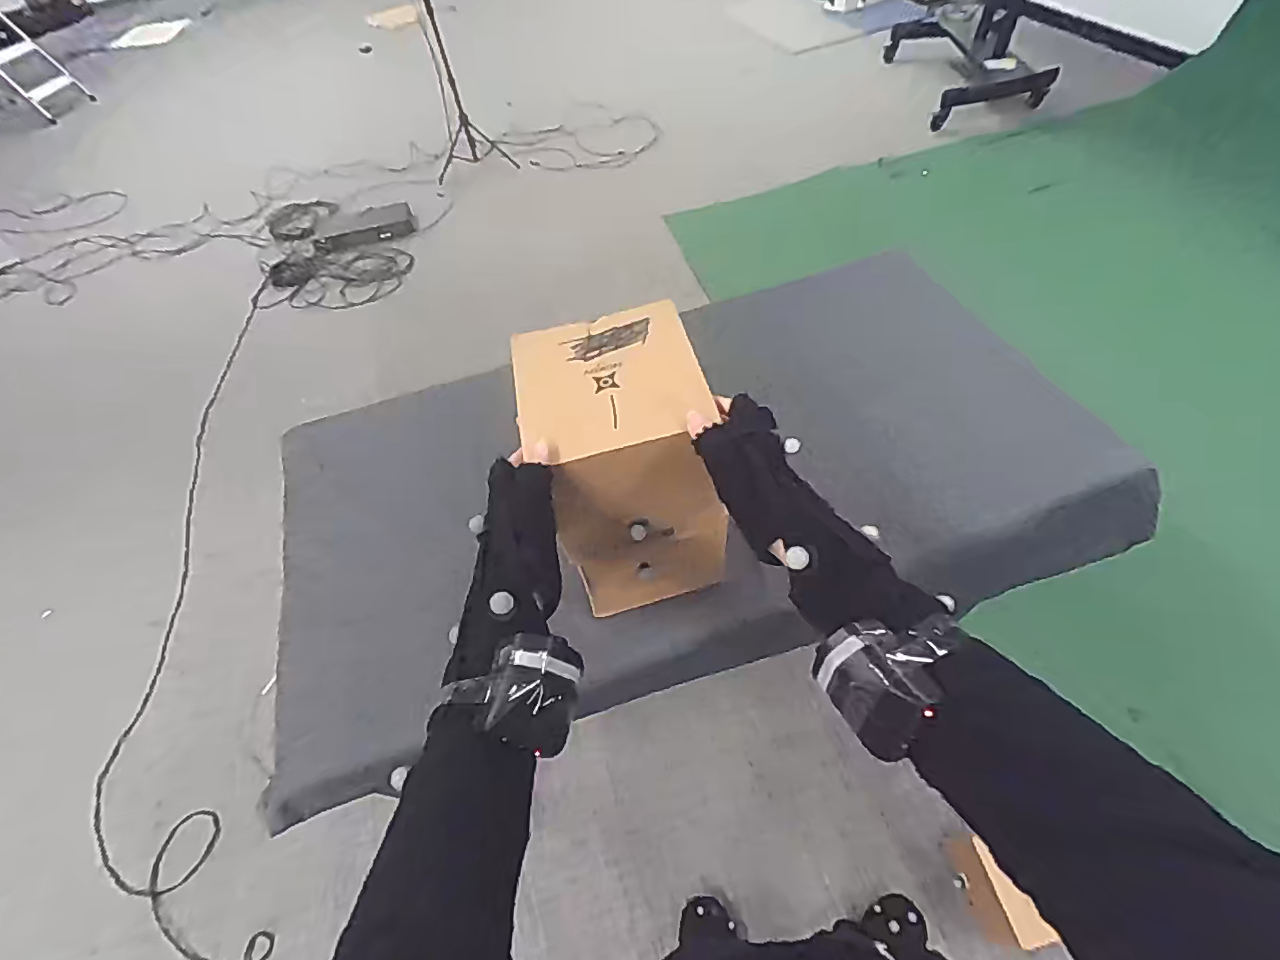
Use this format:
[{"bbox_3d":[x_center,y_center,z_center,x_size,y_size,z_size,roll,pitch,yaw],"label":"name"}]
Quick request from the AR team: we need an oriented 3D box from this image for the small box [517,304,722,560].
[{"bbox_3d":[-0.019,-0.045,0.551,0.168,0.176,0.179,-14,53,0],"label":"small box"}]

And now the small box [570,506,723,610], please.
[{"bbox_3d":[-0.002,0.047,0.698,0.179,0.176,0.168,-15,54,-6],"label":"small box"}]

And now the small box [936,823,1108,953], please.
[{"bbox_3d":[0.704,0.763,1.022,0.179,0.176,0.168,-12,53,-1],"label":"small box"}]
